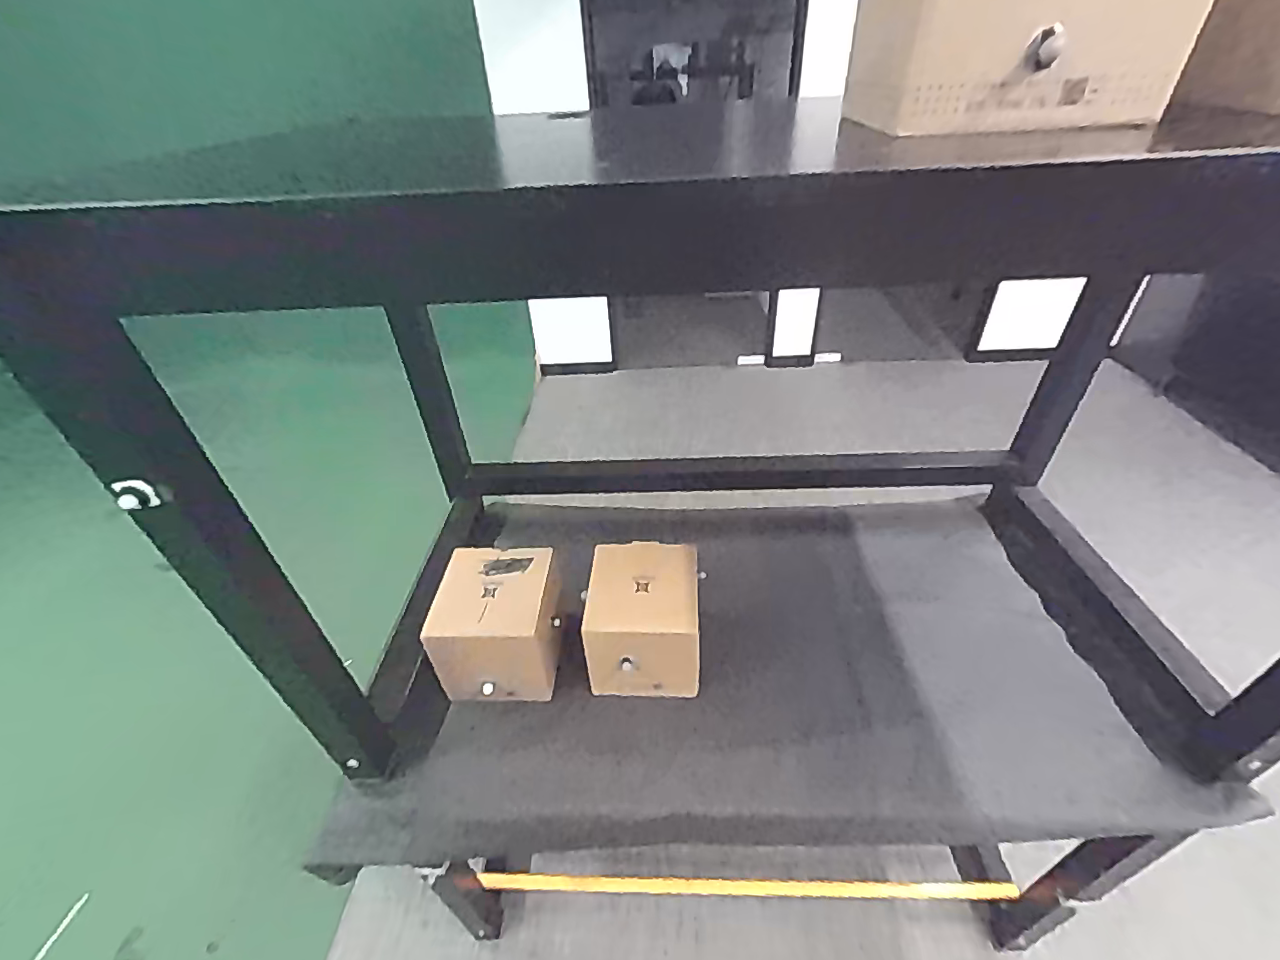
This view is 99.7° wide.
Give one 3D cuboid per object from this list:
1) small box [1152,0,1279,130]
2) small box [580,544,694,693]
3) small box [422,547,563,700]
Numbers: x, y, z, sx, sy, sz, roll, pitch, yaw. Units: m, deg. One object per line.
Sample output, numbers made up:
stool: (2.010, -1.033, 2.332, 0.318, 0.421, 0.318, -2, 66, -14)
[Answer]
small box: (0.499, -0.327, 0.345, 0.168, 0.176, 0.179, 6, 38, 12)
small box: (0.004, 0.222, 0.871, 0.168, 0.176, 0.179, 0, 37, 4)
small box: (-0.223, 0.229, 0.874, 0.168, 0.176, 0.179, -1, 38, 3)
